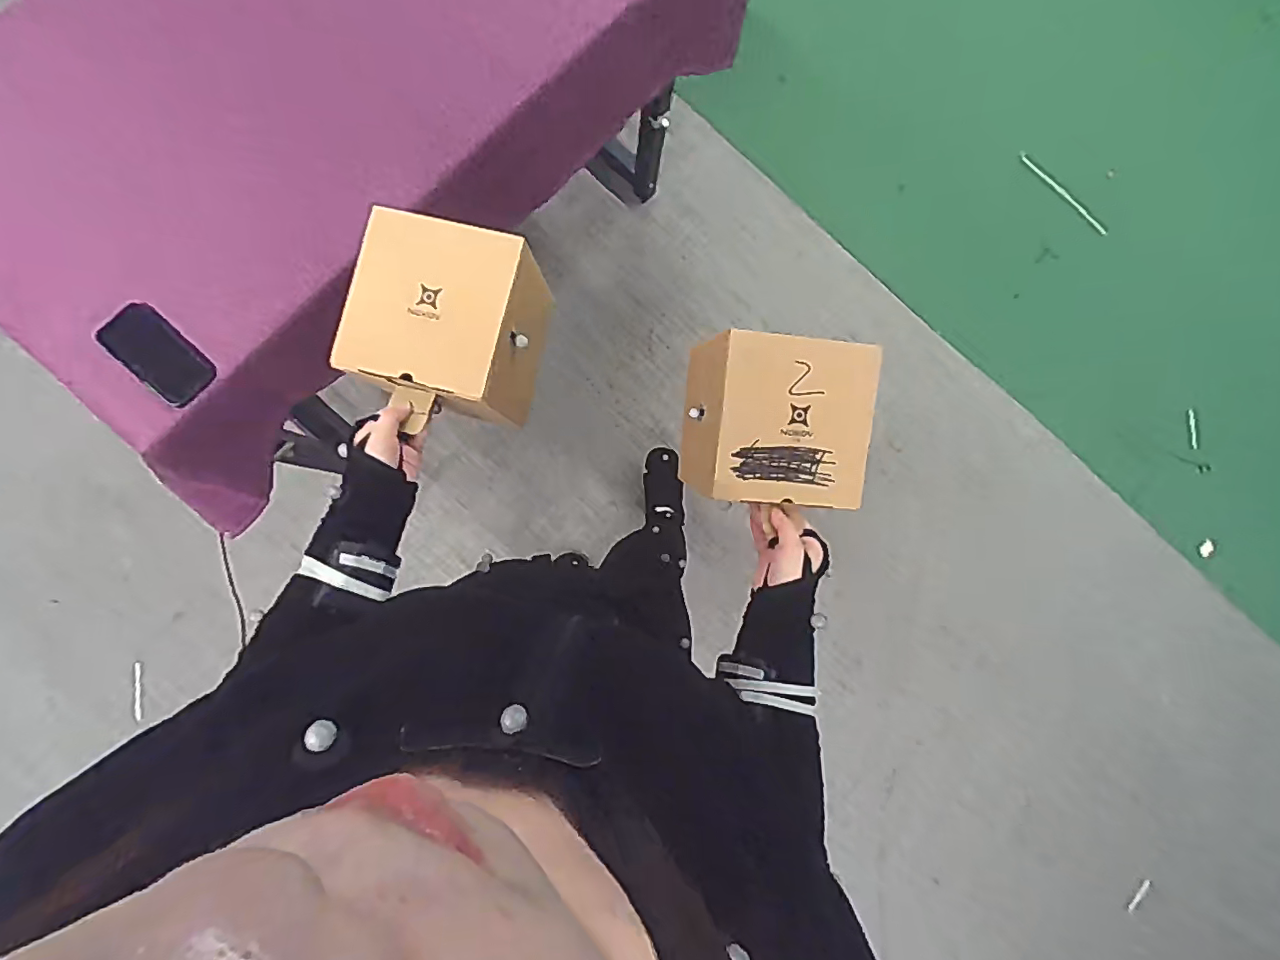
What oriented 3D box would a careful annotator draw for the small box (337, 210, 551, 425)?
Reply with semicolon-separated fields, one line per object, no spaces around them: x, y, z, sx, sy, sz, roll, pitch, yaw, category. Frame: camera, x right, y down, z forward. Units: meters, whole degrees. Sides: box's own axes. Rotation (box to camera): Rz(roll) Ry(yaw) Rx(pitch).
-0.213;-0.178;0.640;0.168;0.176;0.179;13;87;3;small box
